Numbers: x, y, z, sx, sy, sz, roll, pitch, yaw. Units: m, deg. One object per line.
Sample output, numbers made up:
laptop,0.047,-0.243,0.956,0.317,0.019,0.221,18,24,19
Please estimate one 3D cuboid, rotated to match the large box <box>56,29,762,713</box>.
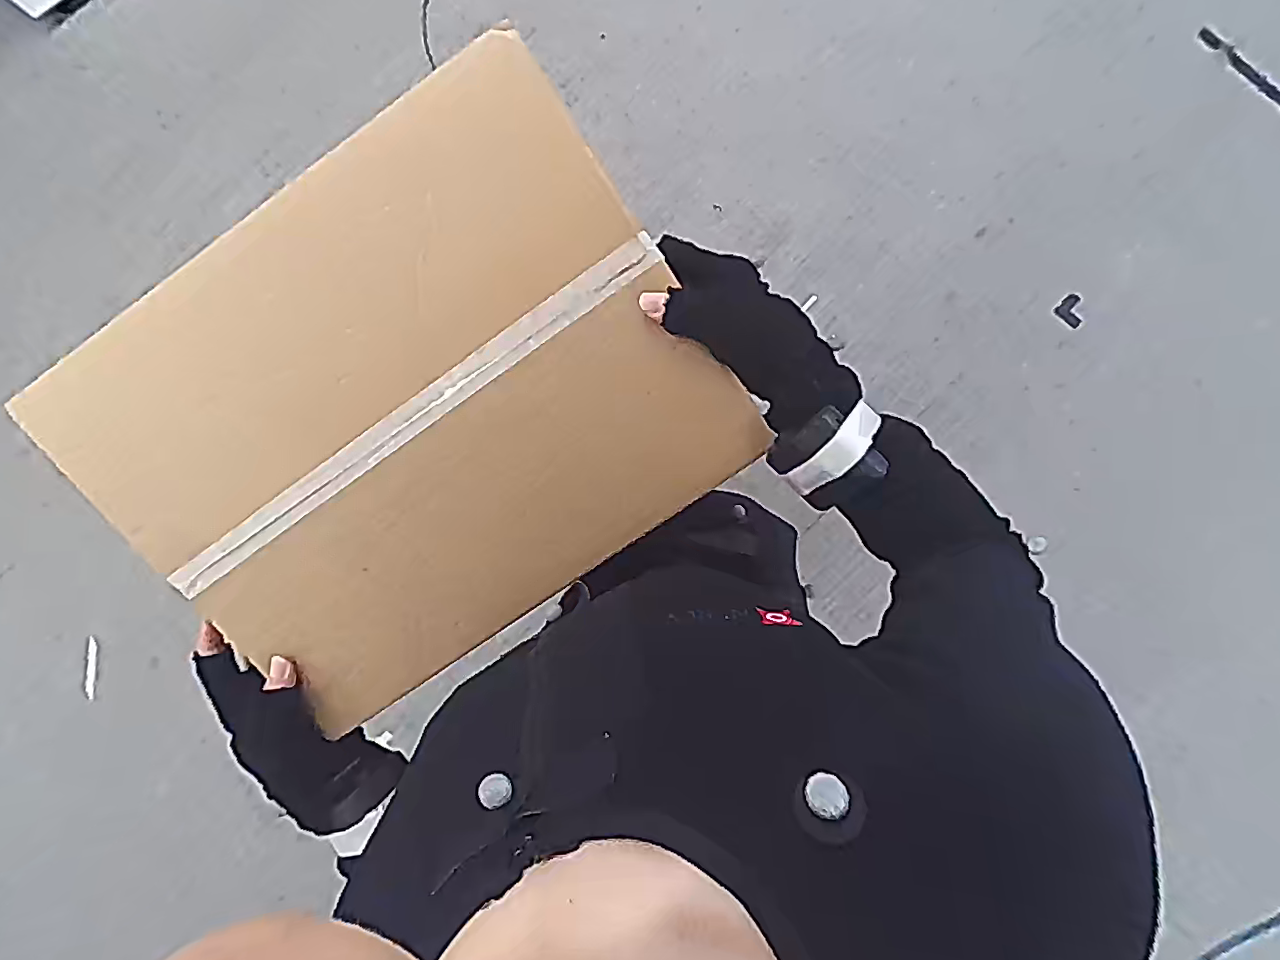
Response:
large box,-0.162,-0.076,0.525,0.408,0.320,0.320,-34,102,5
